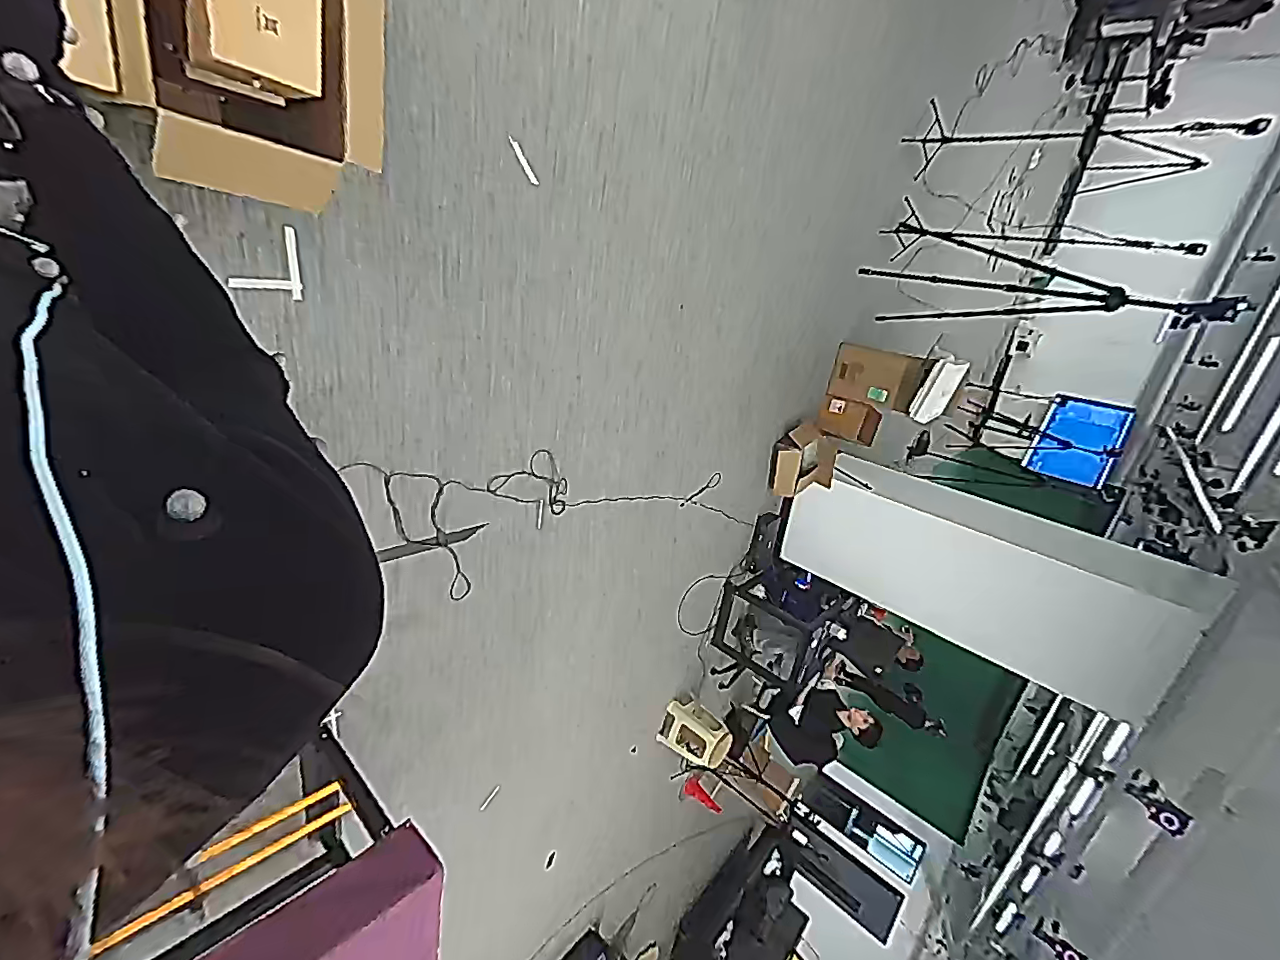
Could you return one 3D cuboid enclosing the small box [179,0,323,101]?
[{"bbox_3d":[-0.709,-0.822,0.989,0.179,0.176,0.168,-12,122,-49],"label":"small box"}]
